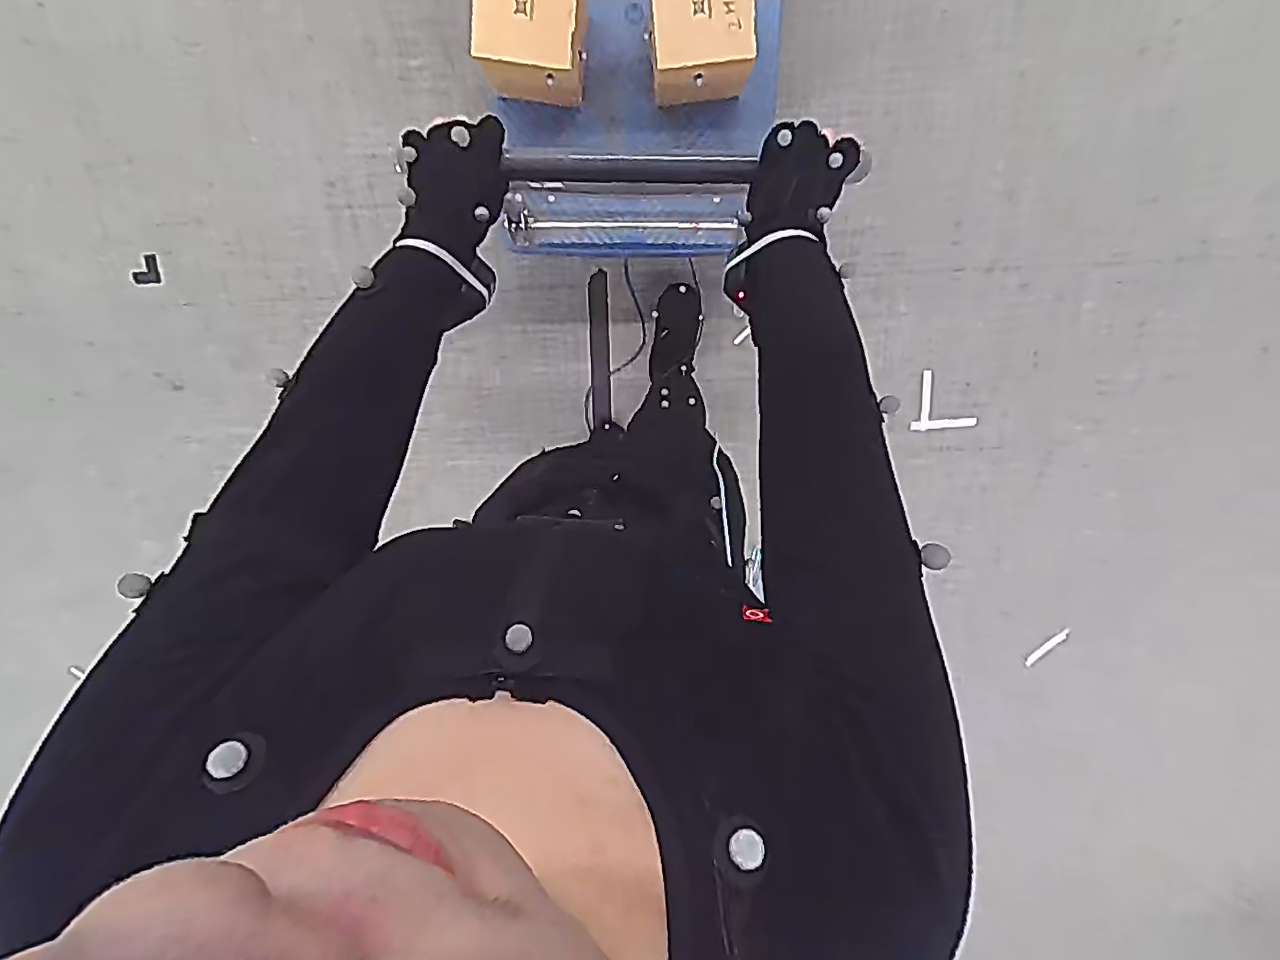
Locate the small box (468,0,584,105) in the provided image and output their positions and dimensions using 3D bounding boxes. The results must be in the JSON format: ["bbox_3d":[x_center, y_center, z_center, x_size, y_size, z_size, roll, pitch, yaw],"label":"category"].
[{"bbox_3d":[-0.201,-0.816,0.987,0.179,0.176,0.168,6,106,-3],"label":"small box"}]

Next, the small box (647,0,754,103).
[{"bbox_3d":[0.104,-0.817,0.986,0.179,0.176,0.168,-5,106,2],"label":"small box"}]
